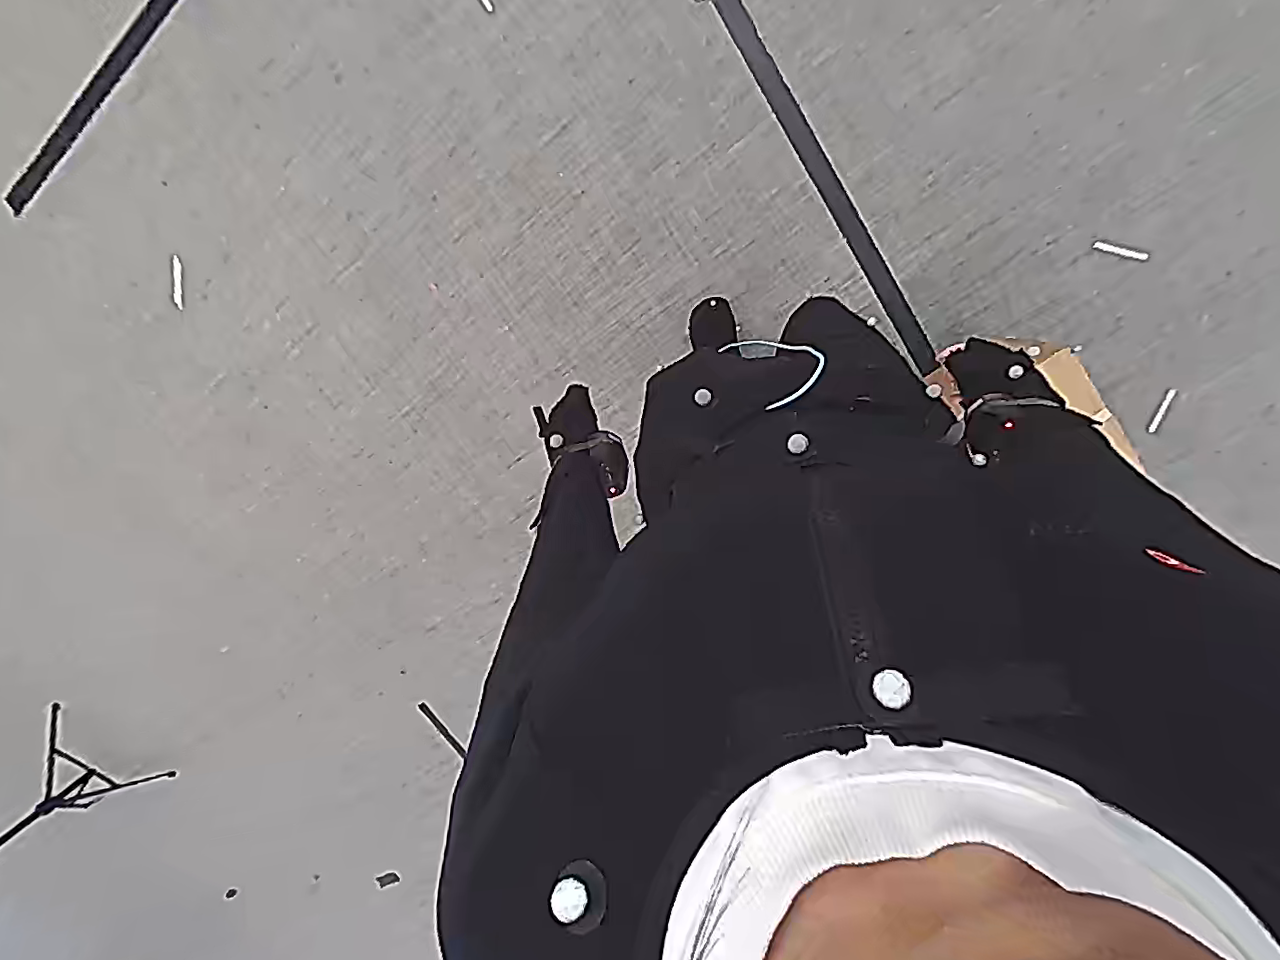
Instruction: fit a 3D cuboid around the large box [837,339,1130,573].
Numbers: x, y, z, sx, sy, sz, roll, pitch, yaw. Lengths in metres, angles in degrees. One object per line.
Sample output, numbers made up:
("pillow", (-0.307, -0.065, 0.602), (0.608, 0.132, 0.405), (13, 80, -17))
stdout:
("large box", (0.733, -0.069, 1.227), (0.408, 0.320, 0.320), (-36, 102, 15))
